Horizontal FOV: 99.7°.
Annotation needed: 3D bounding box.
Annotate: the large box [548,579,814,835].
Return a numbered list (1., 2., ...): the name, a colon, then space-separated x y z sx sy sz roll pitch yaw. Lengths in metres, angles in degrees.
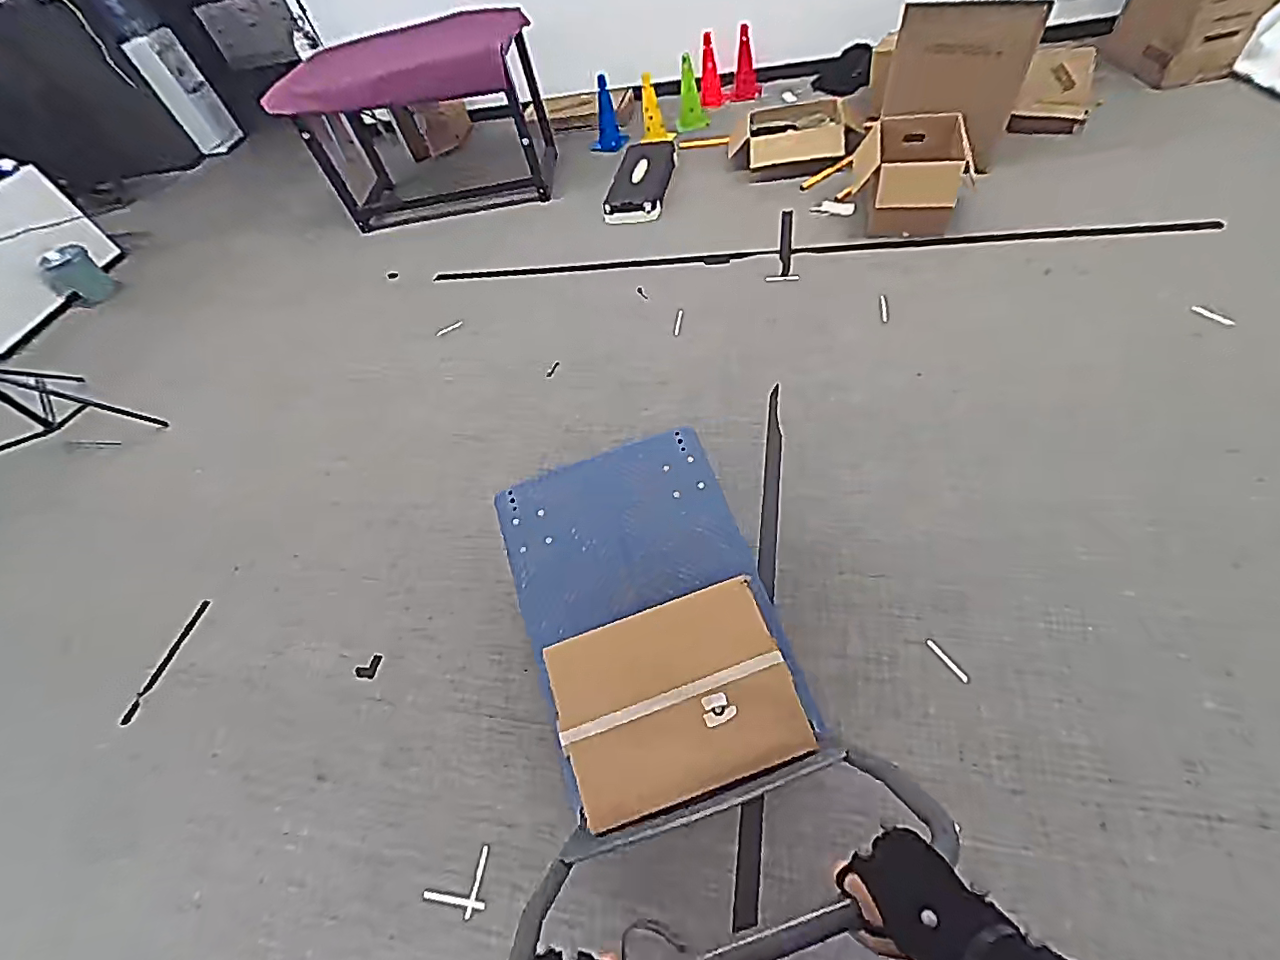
1. large box: 0.074 0.448 1.099 0.408 0.320 0.320 -20 68 -4
